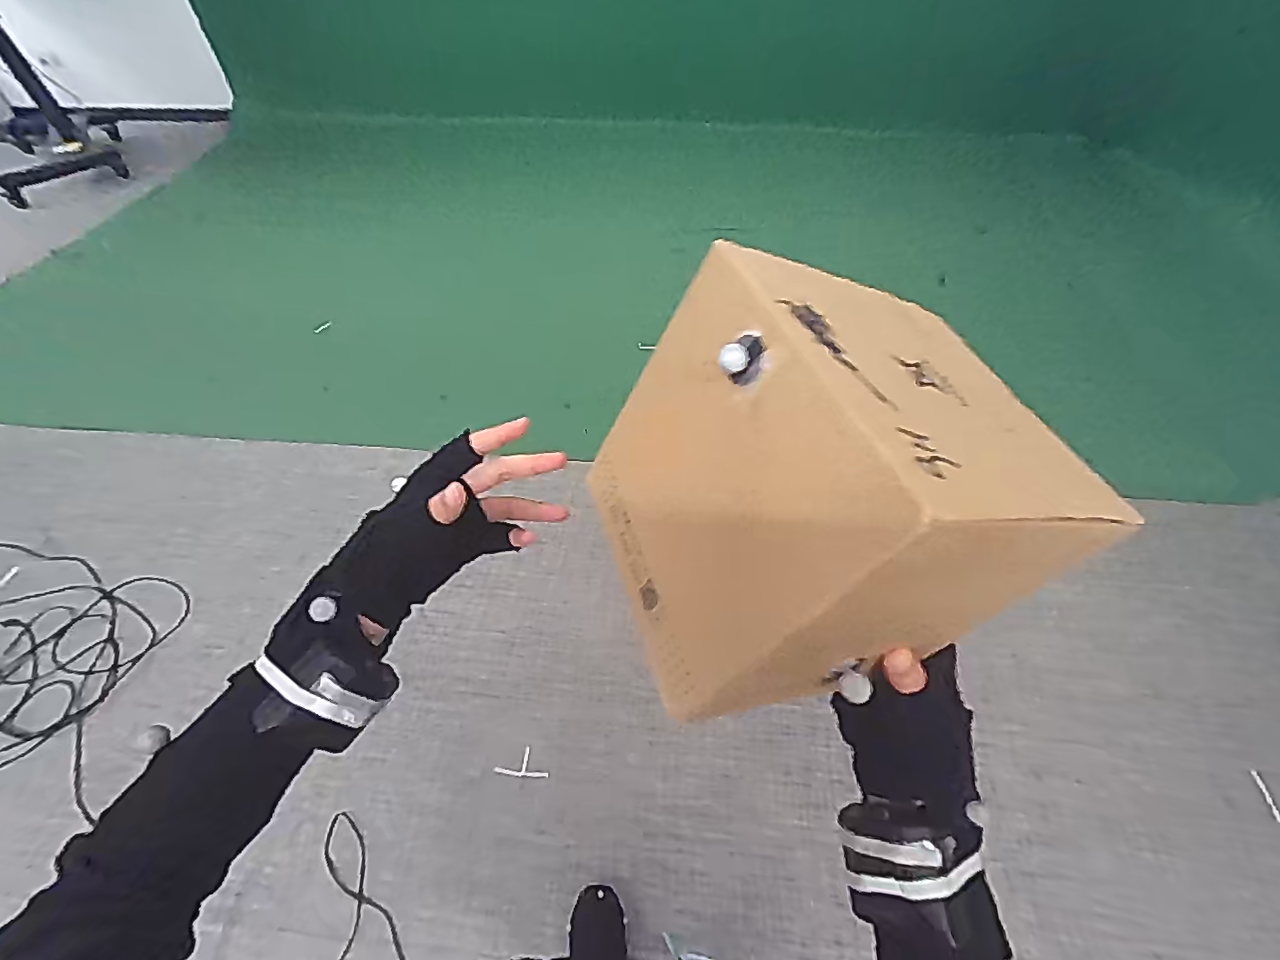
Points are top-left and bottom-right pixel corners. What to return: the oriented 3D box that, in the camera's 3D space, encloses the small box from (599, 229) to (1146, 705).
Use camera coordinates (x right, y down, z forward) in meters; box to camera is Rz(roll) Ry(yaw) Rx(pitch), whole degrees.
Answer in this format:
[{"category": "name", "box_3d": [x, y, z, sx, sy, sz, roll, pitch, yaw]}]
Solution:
[{"category": "small box", "box_3d": [0.101, 0.004, 0.299, 0.179, 0.176, 0.168, 5, 47, -32]}]
